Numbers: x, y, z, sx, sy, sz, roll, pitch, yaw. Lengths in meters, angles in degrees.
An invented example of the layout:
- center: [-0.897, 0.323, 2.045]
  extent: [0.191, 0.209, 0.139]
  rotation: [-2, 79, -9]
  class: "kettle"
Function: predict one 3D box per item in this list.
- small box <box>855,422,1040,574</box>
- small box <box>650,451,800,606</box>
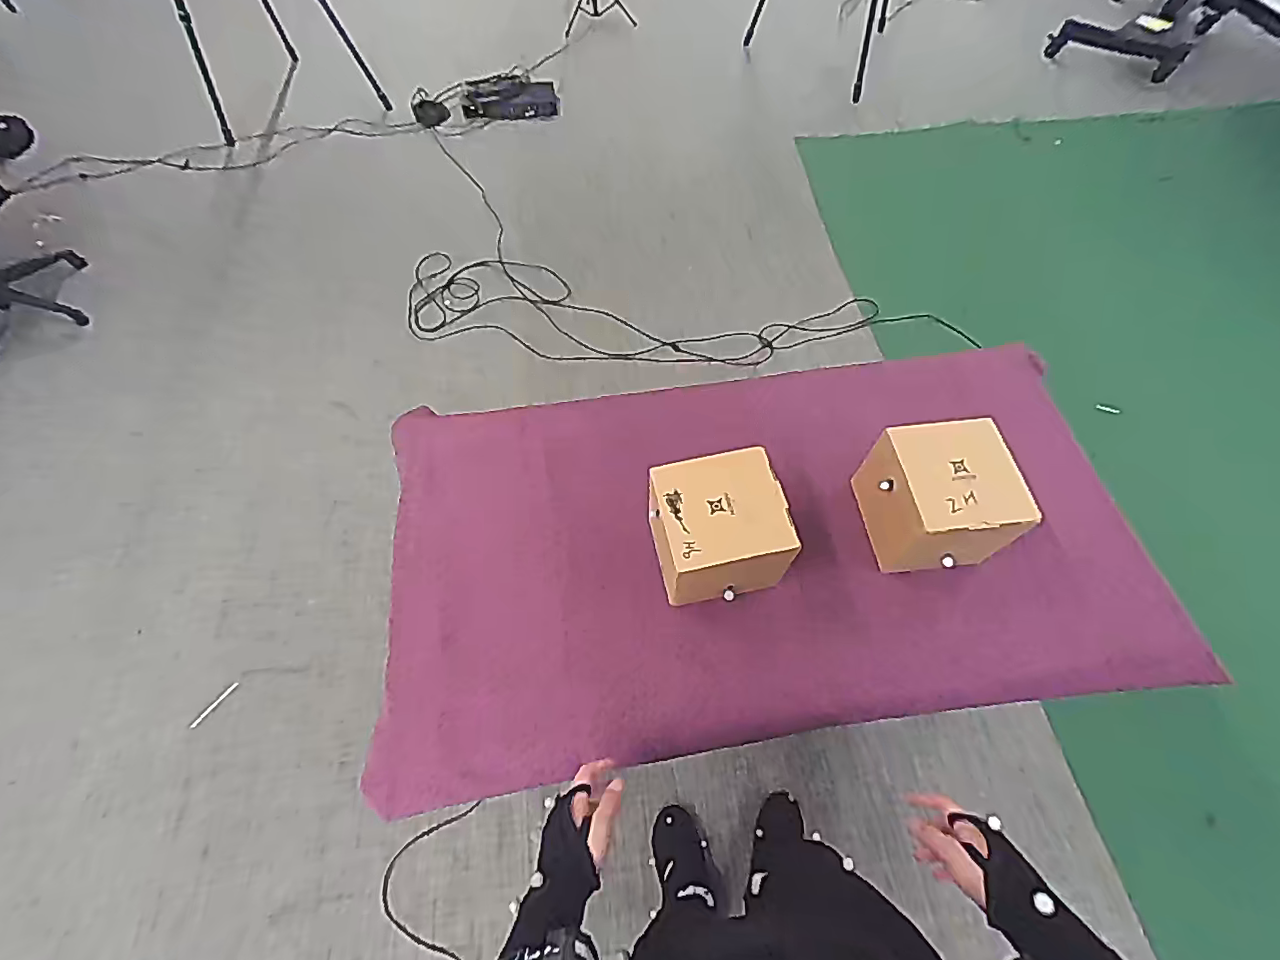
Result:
- center: [0.458, 0.031, 0.842]
  extent: [0.168, 0.176, 0.179]
  rotation: [-5, 61, -1]
  class: "small box"
- center: [0.116, 0.079, 0.823]
  extent: [0.179, 0.176, 0.168]
  rotation: [-10, 61, -5]
  class: "small box"
